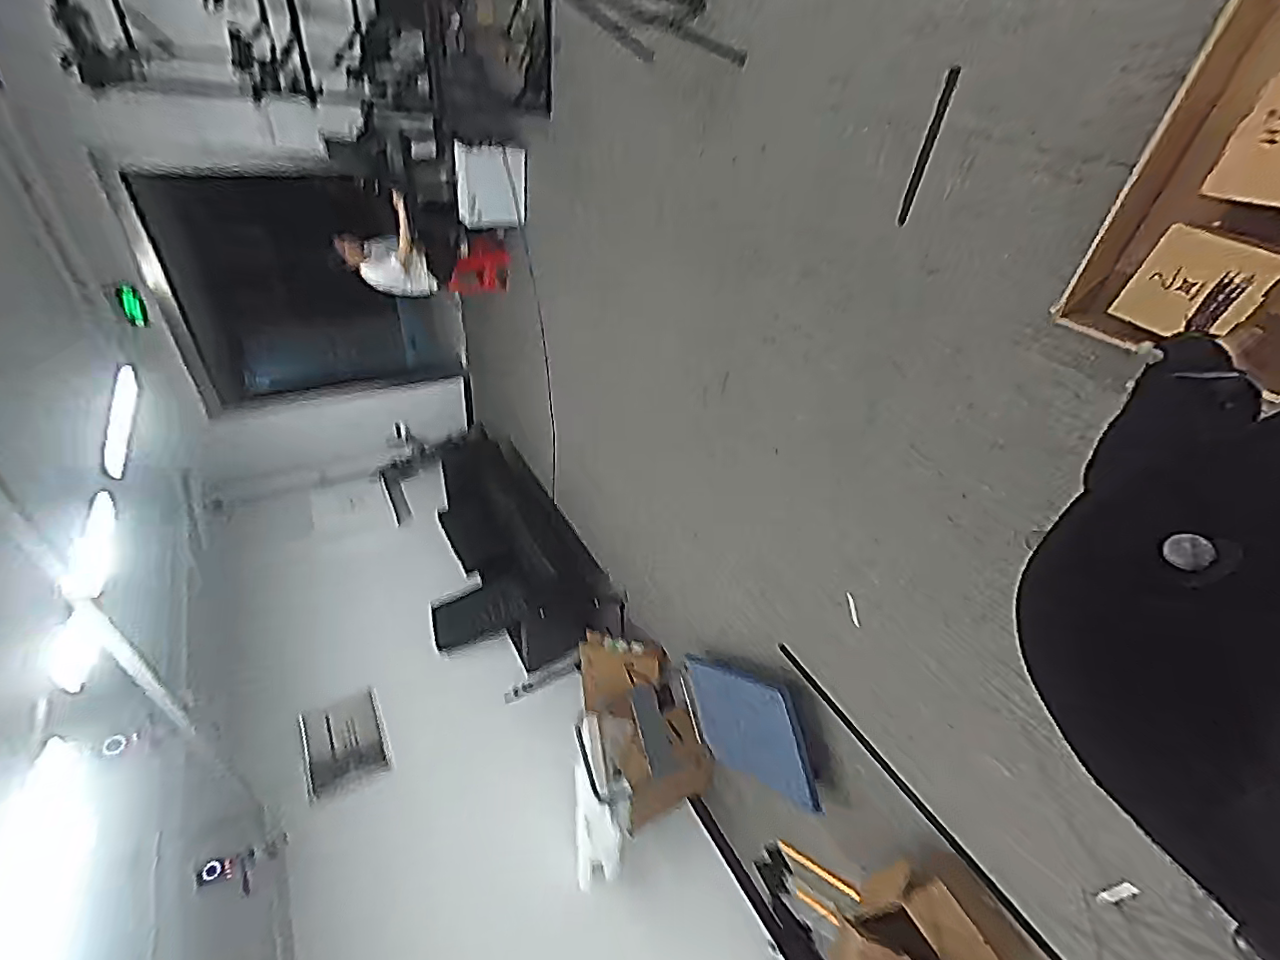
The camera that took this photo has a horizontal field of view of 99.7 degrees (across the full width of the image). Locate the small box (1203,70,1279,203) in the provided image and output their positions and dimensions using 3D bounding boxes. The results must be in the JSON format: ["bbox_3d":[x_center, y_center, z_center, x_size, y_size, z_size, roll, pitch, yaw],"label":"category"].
[{"bbox_3d":[1.047,-0.519,0.824,0.179,0.176,0.168,46,142,41],"label":"small box"}]
